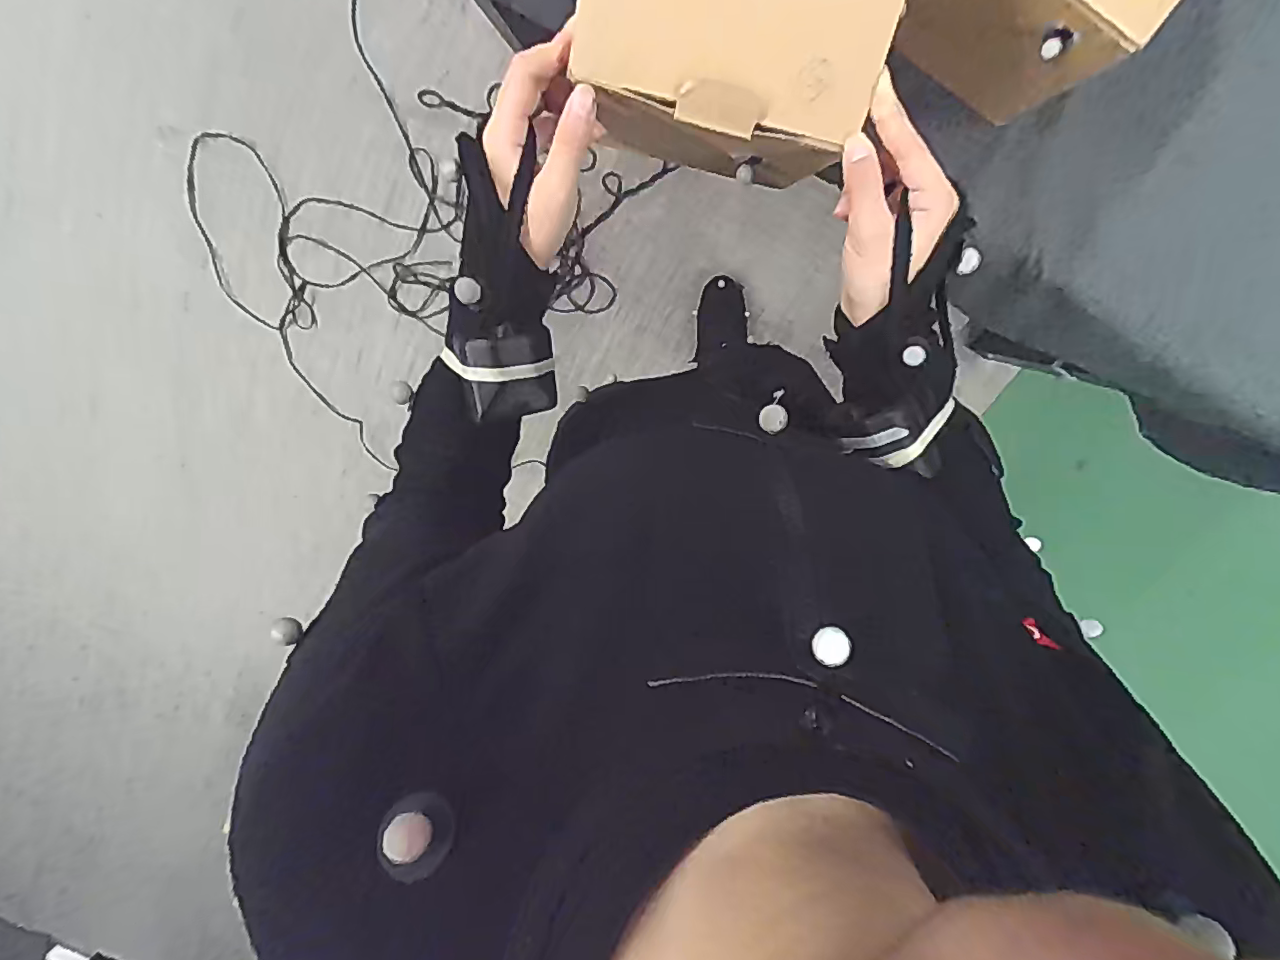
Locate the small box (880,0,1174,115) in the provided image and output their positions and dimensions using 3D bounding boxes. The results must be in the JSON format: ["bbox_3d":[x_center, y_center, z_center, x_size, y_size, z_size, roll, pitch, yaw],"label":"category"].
[{"bbox_3d":[0.281,-0.399,0.377,0.179,0.176,0.168,31,109,-7],"label":"small box"}]

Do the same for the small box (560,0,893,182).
[{"bbox_3d":[0.053,-0.306,0.338,0.168,0.176,0.179,10,111,-6],"label":"small box"}]
